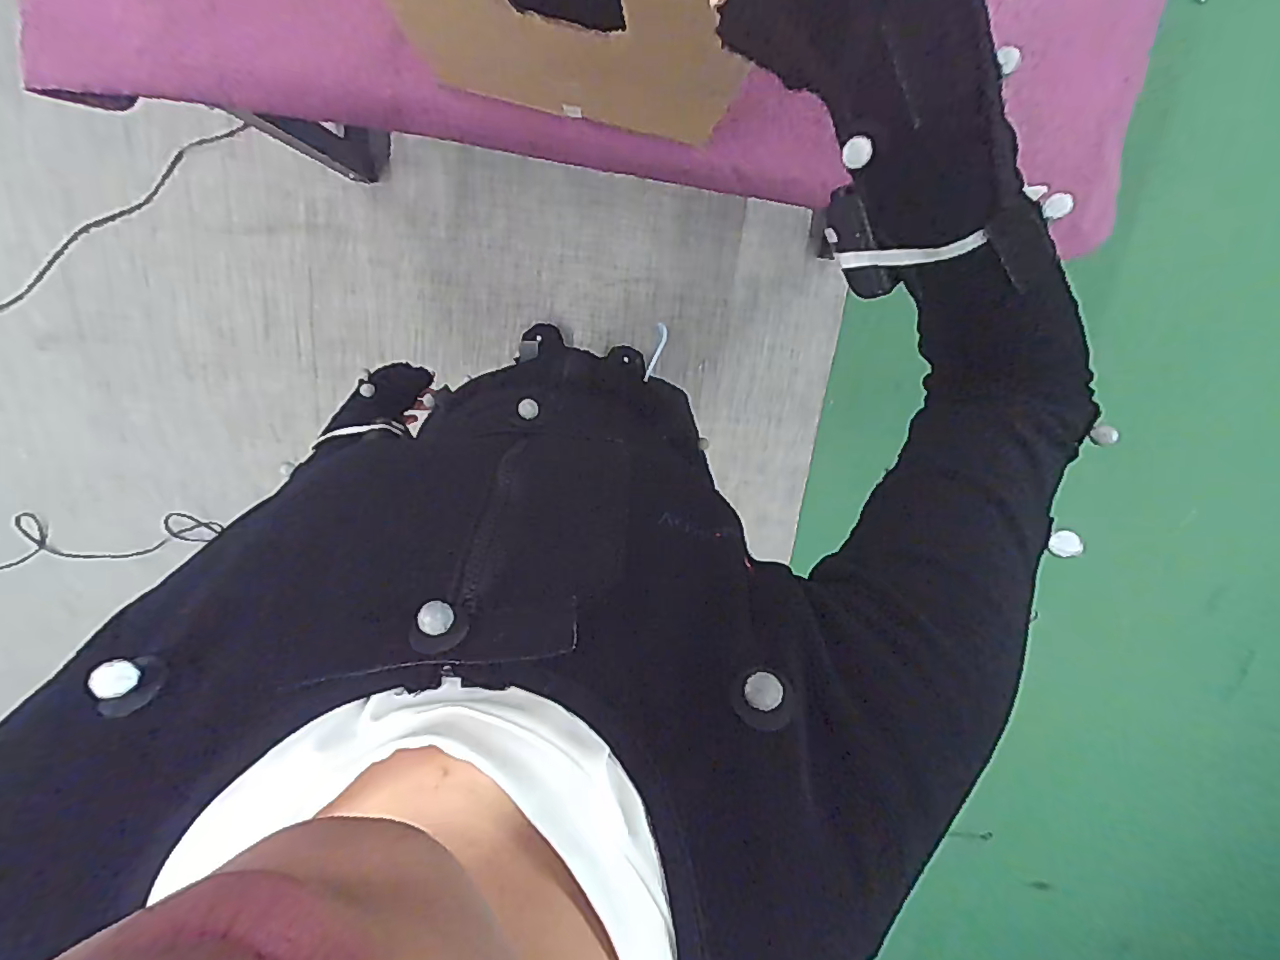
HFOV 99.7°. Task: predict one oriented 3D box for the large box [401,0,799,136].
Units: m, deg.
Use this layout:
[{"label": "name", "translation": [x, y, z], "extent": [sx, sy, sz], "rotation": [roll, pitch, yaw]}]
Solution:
[{"label": "large box", "translation": [-0.024, -0.573, 0.432], "extent": [0.320, 0.320, 0.408], "rotation": [9, 106, -8]}]
